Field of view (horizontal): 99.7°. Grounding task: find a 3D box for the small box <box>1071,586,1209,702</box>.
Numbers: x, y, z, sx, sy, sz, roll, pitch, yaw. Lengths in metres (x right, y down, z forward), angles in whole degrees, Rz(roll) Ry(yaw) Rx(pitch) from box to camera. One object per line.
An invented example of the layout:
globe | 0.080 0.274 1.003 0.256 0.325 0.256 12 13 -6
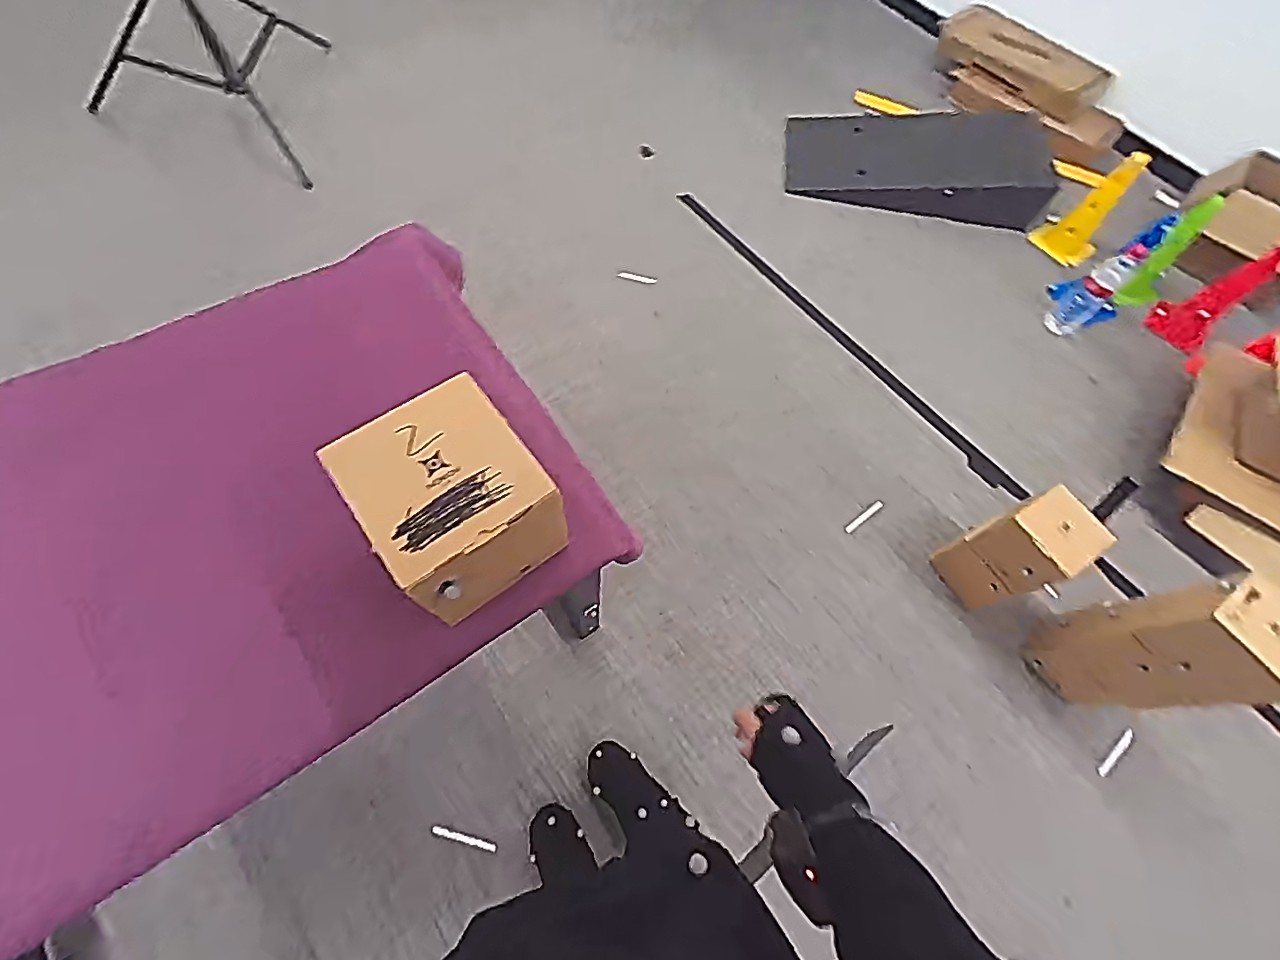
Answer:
small box | 1.114 0.365 1.185 0.168 0.176 0.179 -32 72 -18

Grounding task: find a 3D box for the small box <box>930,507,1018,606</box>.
small box | 0.914 0.206 1.426 0.168 0.176 0.179 -28 71 -17

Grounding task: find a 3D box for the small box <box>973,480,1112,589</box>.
small box | 0.937 0.136 1.281 0.179 0.176 0.168 -29 72 -19

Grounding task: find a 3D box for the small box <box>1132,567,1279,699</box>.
small box | 1.126 0.297 1.036 0.168 0.176 0.179 -29 72 -17

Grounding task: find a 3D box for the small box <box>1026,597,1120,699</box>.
small box | 1.111 0.422 1.340 0.179 0.176 0.168 -34 73 -20
